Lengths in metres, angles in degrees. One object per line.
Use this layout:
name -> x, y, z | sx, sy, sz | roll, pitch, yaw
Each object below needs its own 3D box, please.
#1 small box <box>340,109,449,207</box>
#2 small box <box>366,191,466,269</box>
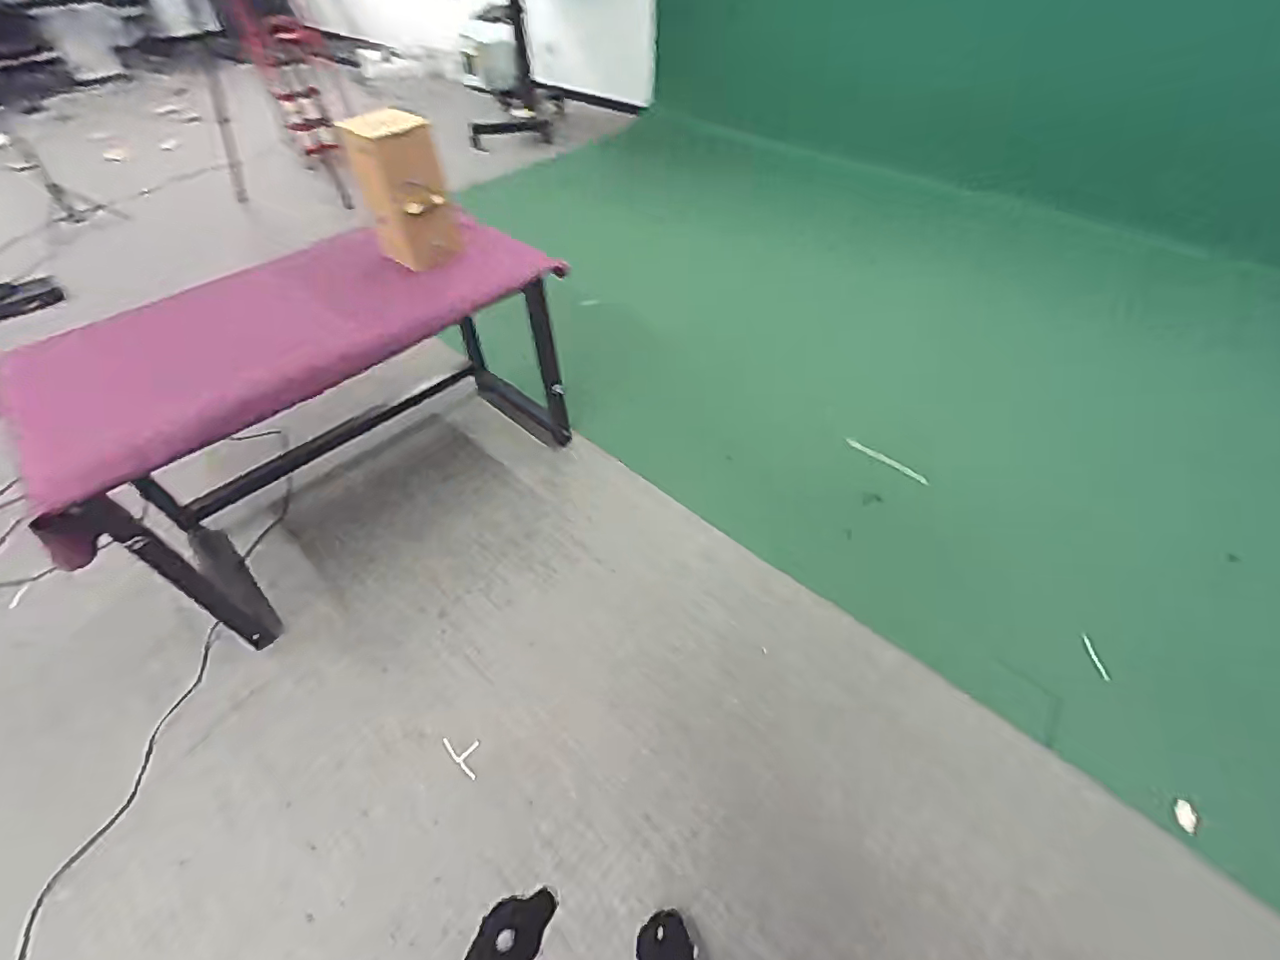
small box -> -0.626, -0.828, 1.394 | 0.179, 0.176, 0.168 | 34, 58, 27
small box -> -0.621, -0.717, 1.513 | 0.179, 0.176, 0.168 | 33, 58, 27
